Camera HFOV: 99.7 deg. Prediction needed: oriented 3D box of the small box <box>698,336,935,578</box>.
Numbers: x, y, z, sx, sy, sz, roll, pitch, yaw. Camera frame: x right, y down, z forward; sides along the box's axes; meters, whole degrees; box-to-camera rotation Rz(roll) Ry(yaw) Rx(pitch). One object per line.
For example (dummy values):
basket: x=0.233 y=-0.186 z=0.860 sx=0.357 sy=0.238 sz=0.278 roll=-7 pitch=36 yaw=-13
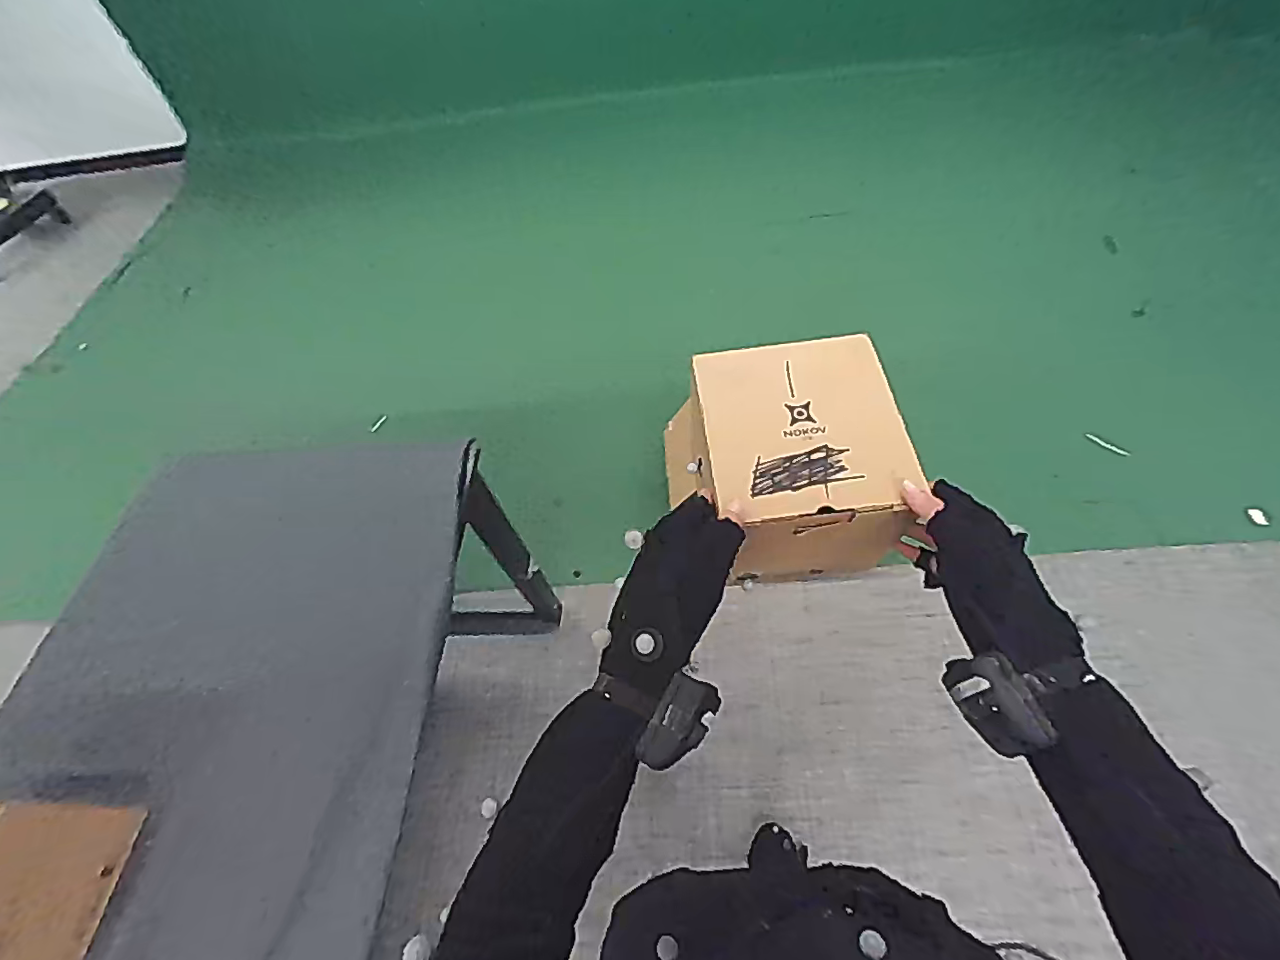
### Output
small box: x=0.150 y=-0.010 z=0.529 sx=0.168 sy=0.176 sz=0.179 roll=-6 pitch=61 yaw=2
